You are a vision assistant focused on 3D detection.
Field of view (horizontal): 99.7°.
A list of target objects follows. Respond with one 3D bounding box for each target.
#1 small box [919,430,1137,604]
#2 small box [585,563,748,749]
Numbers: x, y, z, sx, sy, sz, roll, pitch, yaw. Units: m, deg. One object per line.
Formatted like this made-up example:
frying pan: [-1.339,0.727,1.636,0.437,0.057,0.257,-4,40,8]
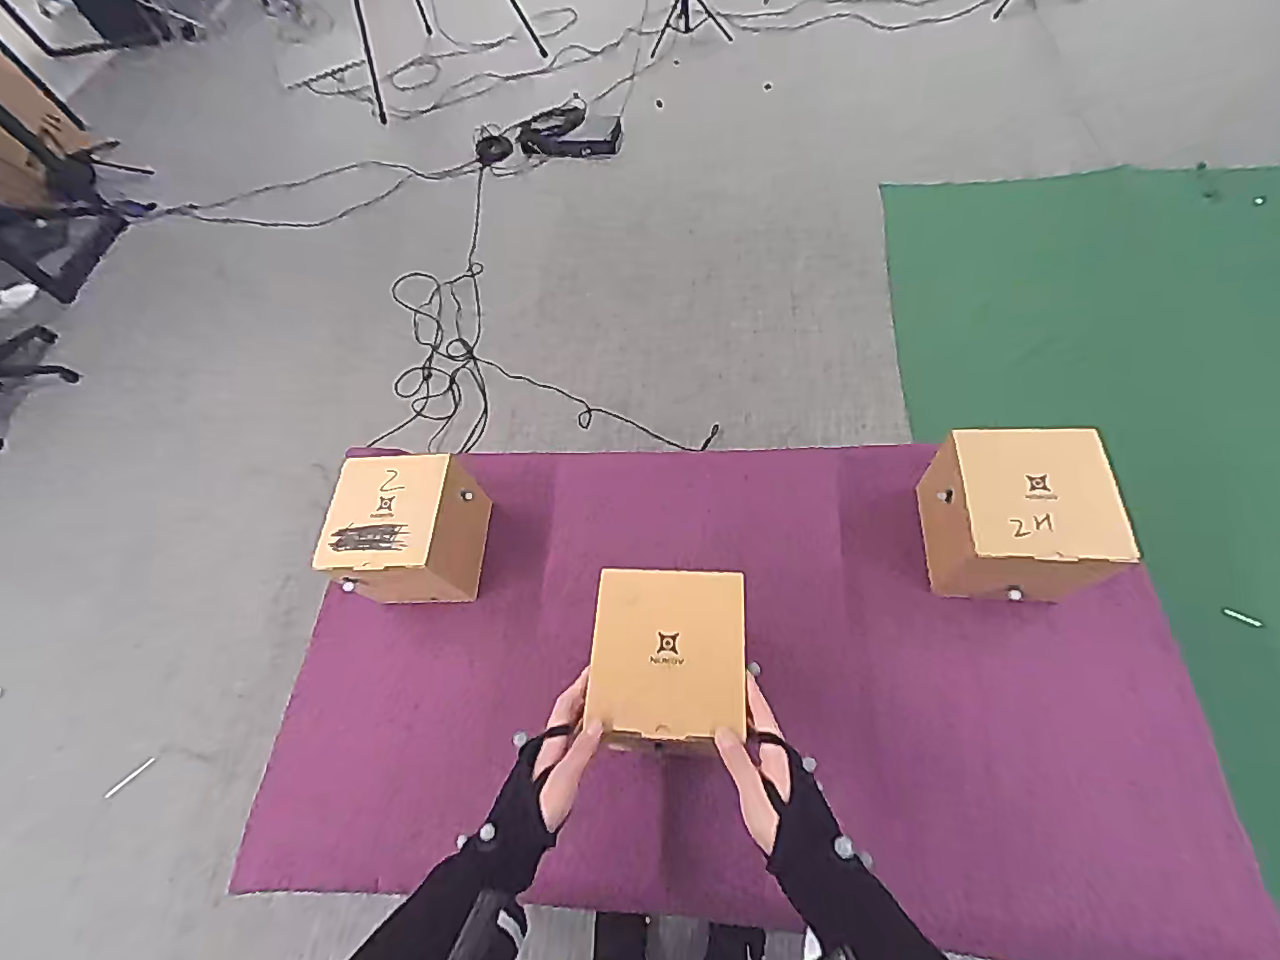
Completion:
small box: [0.485,0.051,0.712,0.168,0.176,0.179,1,63,11]
small box: [0.038,0.213,0.645,0.168,0.176,0.179,1,61,7]
